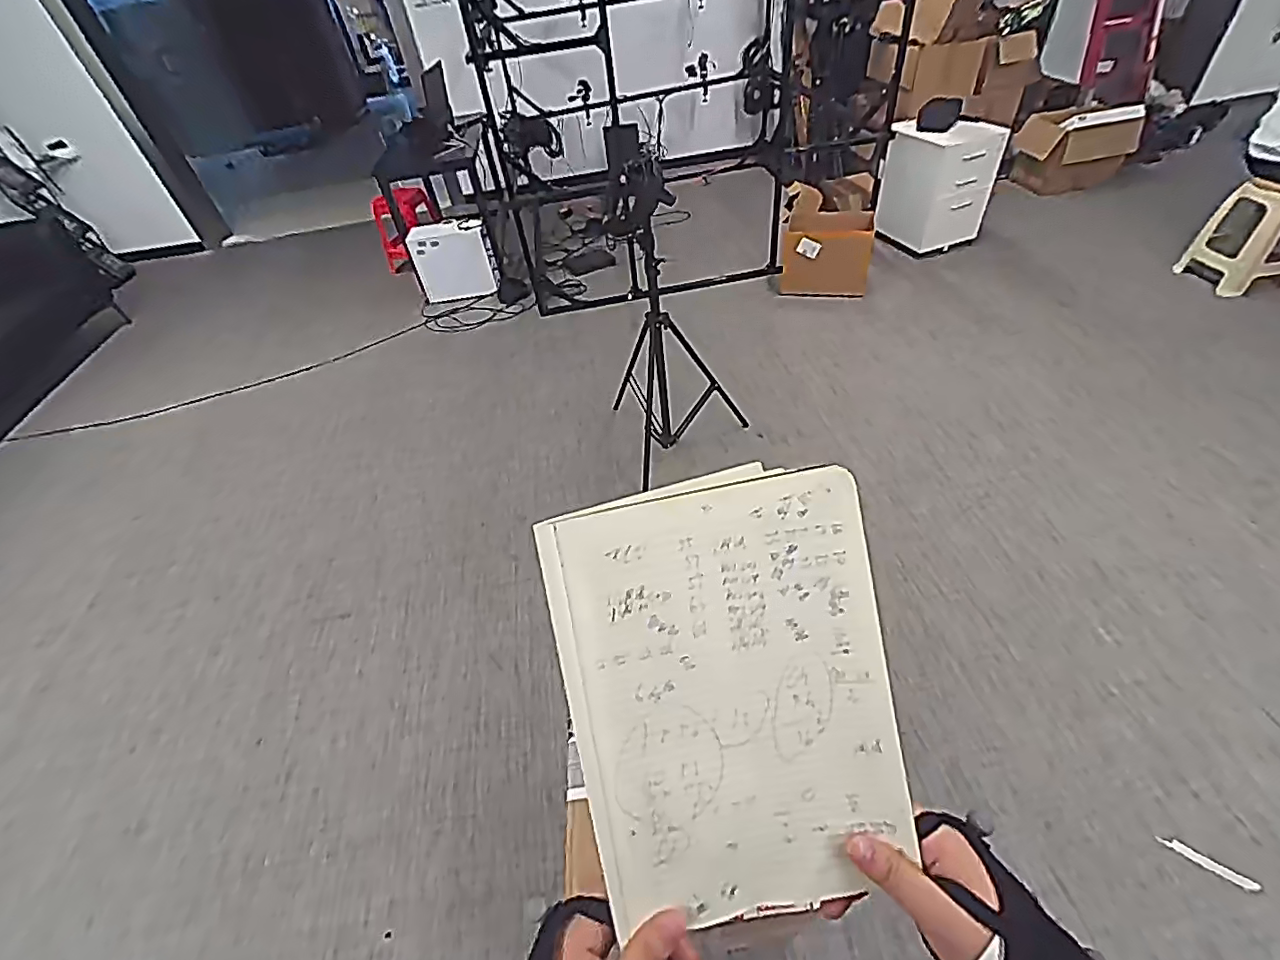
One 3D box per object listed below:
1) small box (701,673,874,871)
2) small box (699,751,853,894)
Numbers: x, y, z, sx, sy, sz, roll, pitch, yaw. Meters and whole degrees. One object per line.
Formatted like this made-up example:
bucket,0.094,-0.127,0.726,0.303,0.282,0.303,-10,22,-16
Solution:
small box,0.178,0.387,0.719,0.168,0.176,0.179,-9,45,-3
small box,0.193,0.508,0.829,0.179,0.176,0.168,-11,45,-4
